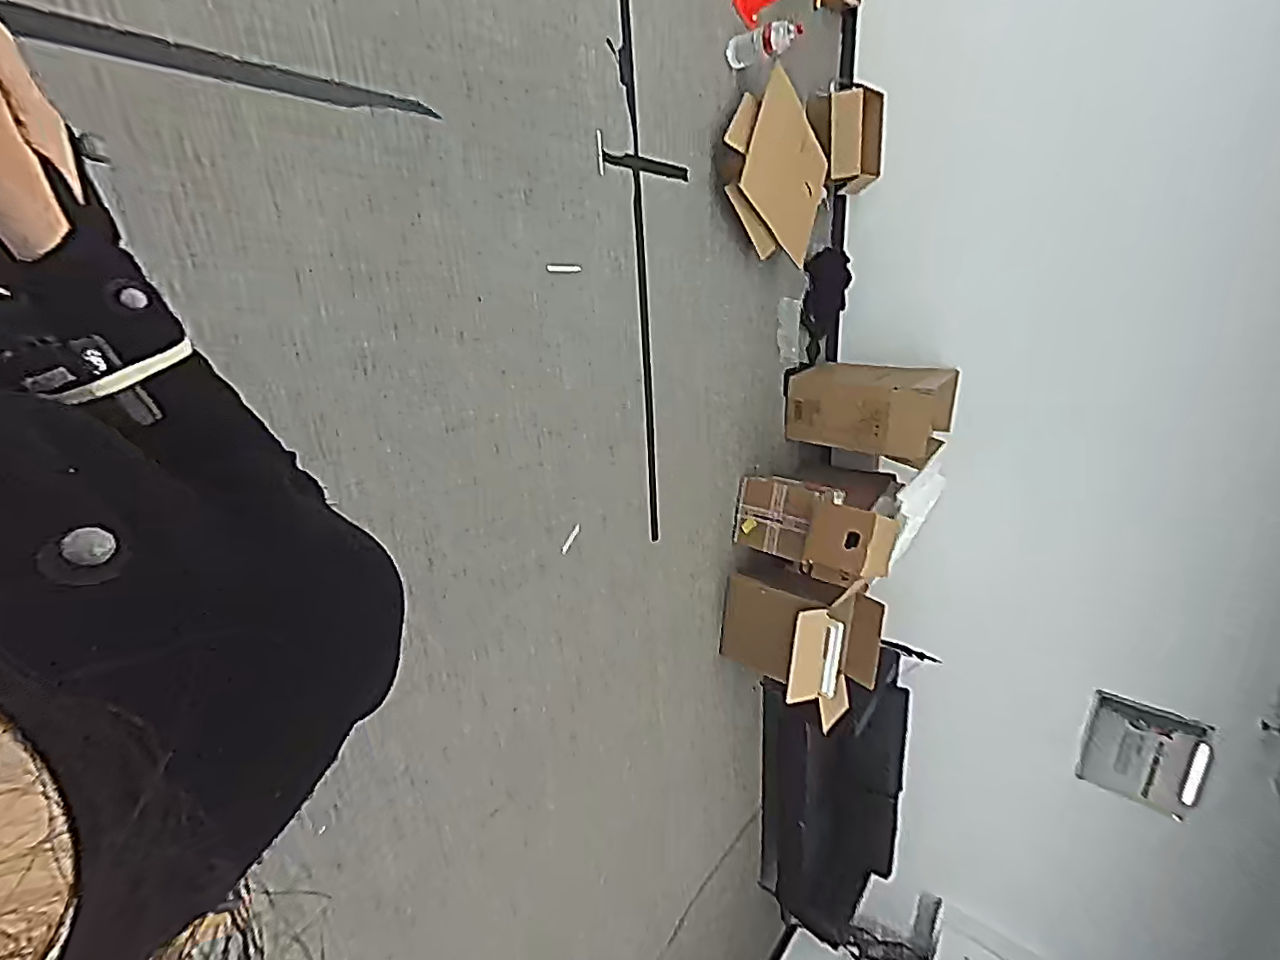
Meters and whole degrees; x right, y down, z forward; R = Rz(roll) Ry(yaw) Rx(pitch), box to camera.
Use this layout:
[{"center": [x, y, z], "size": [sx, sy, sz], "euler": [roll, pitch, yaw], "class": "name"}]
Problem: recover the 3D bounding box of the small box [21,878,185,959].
[{"center": [-0.920, 0.854, 0.936], "size": [0.179, 0.176, 0.168], "euler": [-23, 116, -44], "class": "small box"}]
